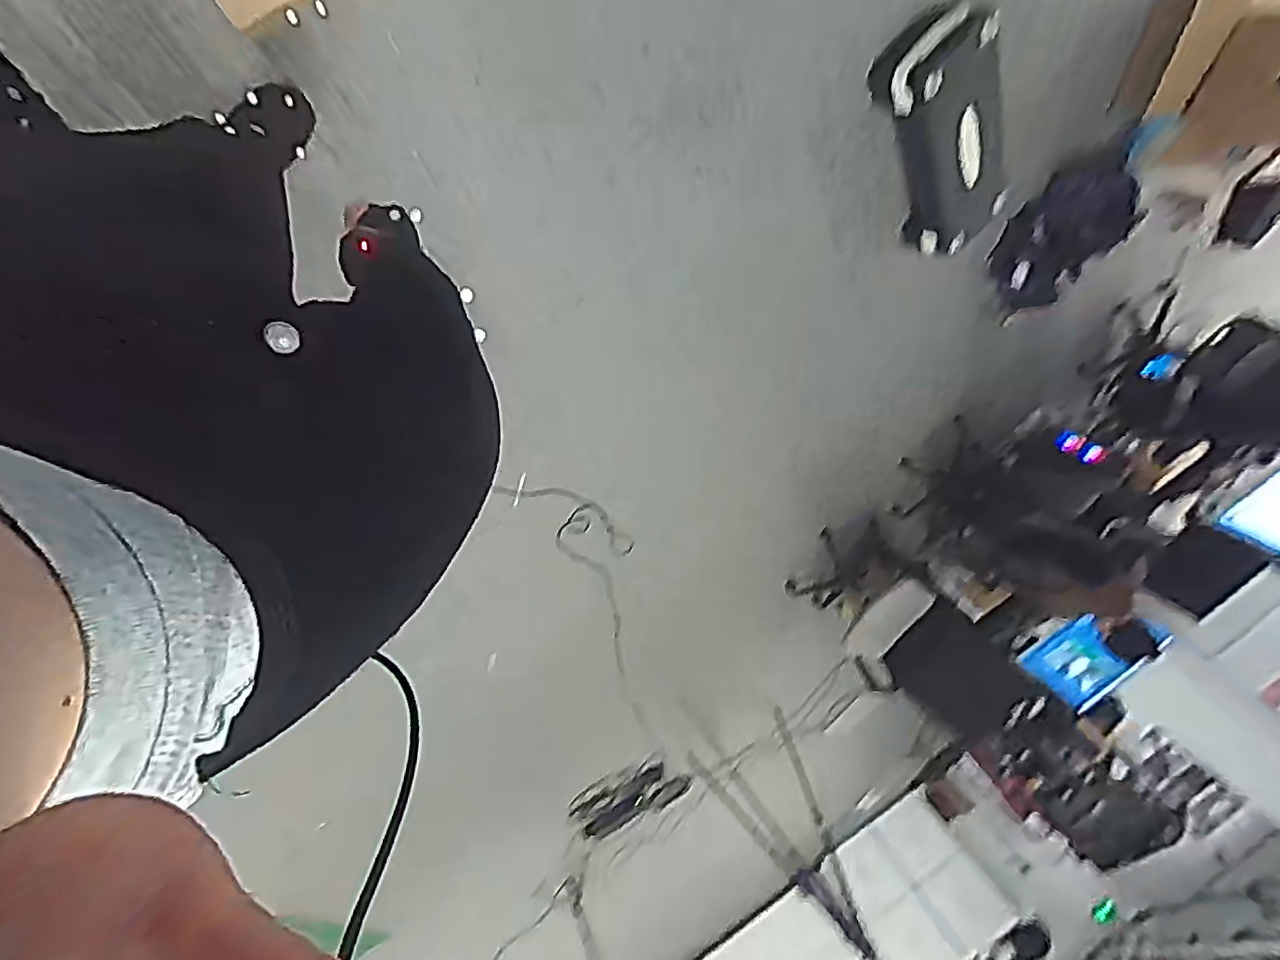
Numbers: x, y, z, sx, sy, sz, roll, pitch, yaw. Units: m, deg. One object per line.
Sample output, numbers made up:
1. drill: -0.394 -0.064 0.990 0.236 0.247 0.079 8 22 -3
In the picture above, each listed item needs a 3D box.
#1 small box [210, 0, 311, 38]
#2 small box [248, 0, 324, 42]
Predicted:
1. small box: -0.583 -0.789 0.791 0.179 0.176 0.168 -36 133 -3
2. small box: -0.651 -0.880 0.911 0.179 0.176 0.168 -36 133 -2
